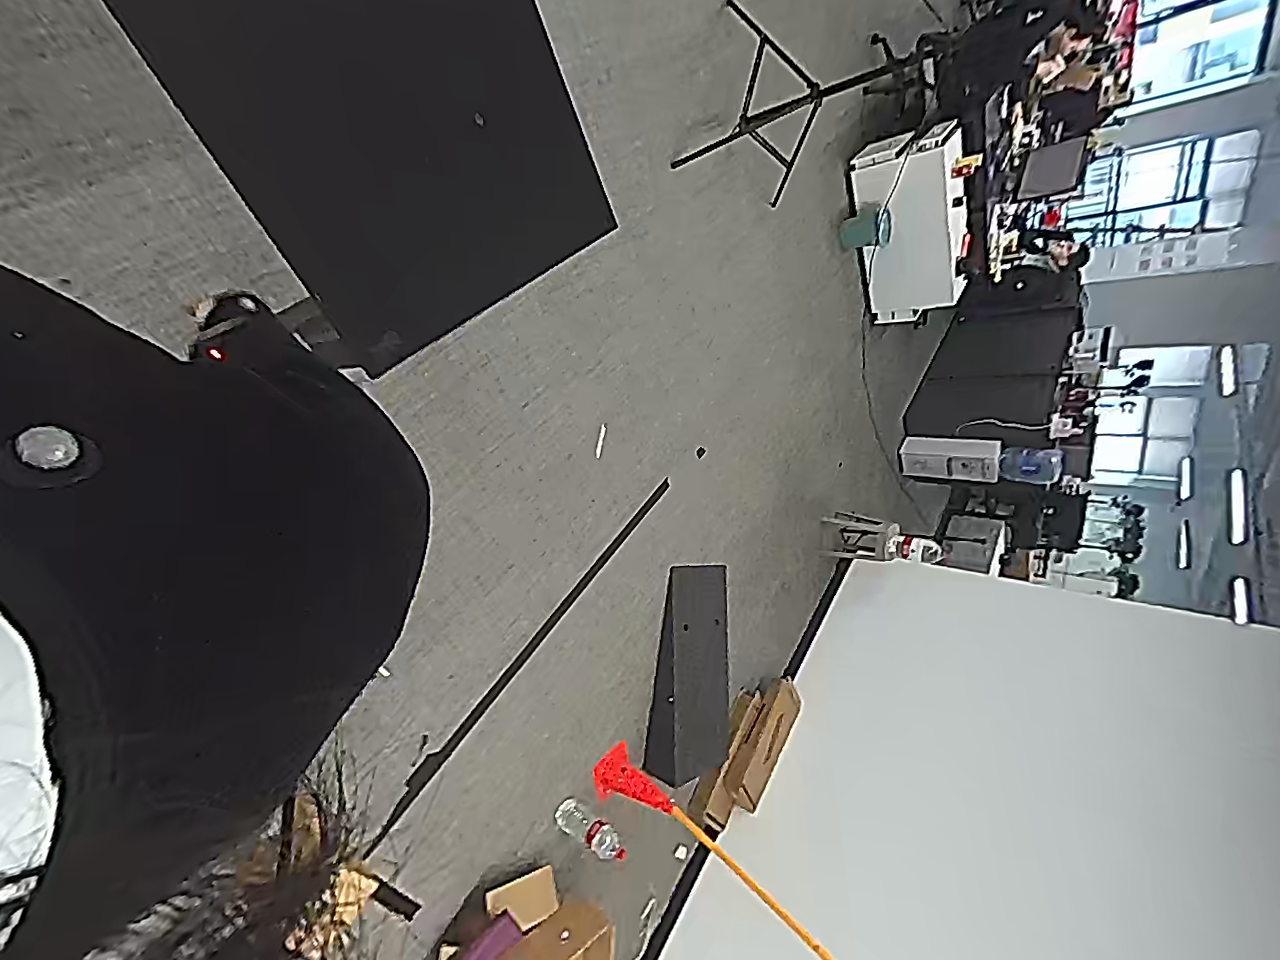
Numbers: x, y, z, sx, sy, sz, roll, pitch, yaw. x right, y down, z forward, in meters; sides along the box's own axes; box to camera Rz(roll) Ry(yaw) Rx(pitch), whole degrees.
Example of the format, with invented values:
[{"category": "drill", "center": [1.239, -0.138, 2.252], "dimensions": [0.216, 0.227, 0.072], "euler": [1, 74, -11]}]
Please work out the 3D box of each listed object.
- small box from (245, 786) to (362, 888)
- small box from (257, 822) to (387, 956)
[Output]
[{"category": "small box", "center": [-0.855, 0.922, 1.364], "dimensions": [0.179, 0.176, 0.168], "euler": [-49, 129, -32]}, {"category": "small box", "center": [-0.736, 0.939, 1.252], "dimensions": [0.168, 0.176, 0.179], "euler": [-50, 130, -31]}]
